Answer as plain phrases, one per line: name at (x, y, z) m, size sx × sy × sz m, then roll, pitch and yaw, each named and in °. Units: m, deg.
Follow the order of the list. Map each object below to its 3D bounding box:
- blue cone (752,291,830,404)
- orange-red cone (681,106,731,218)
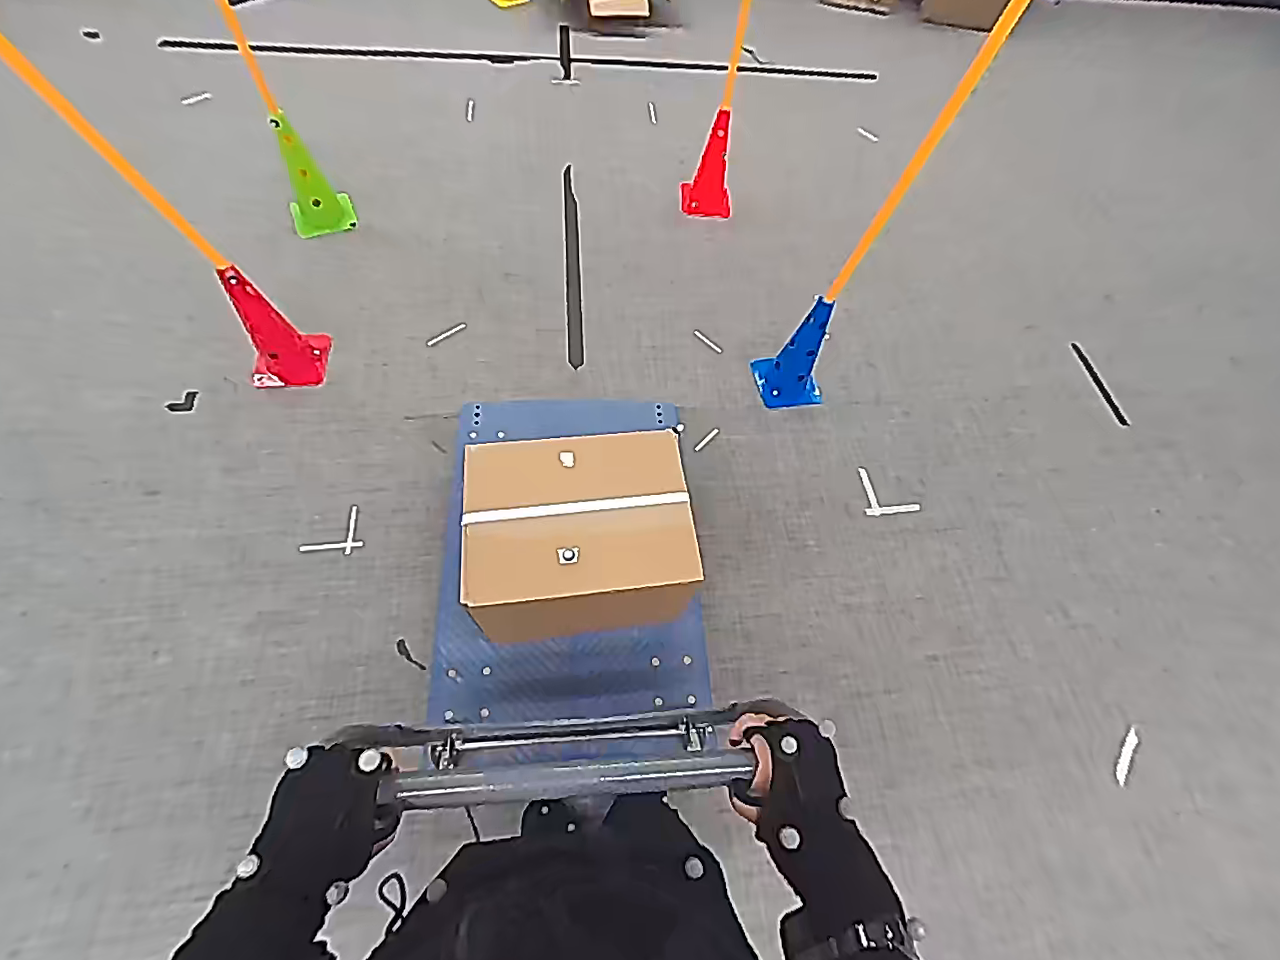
blue cone at (0.495, -0.411, 1.648) m, size 0.193 × 0.380 × 0.192 m, roll -6°, pitch 62°, yaw -9°
orange-red cone at (0.283, -1.209, 2.033) m, size 0.199 × 0.360 × 0.198 m, roll 4°, pitch 63°, yaw -5°
